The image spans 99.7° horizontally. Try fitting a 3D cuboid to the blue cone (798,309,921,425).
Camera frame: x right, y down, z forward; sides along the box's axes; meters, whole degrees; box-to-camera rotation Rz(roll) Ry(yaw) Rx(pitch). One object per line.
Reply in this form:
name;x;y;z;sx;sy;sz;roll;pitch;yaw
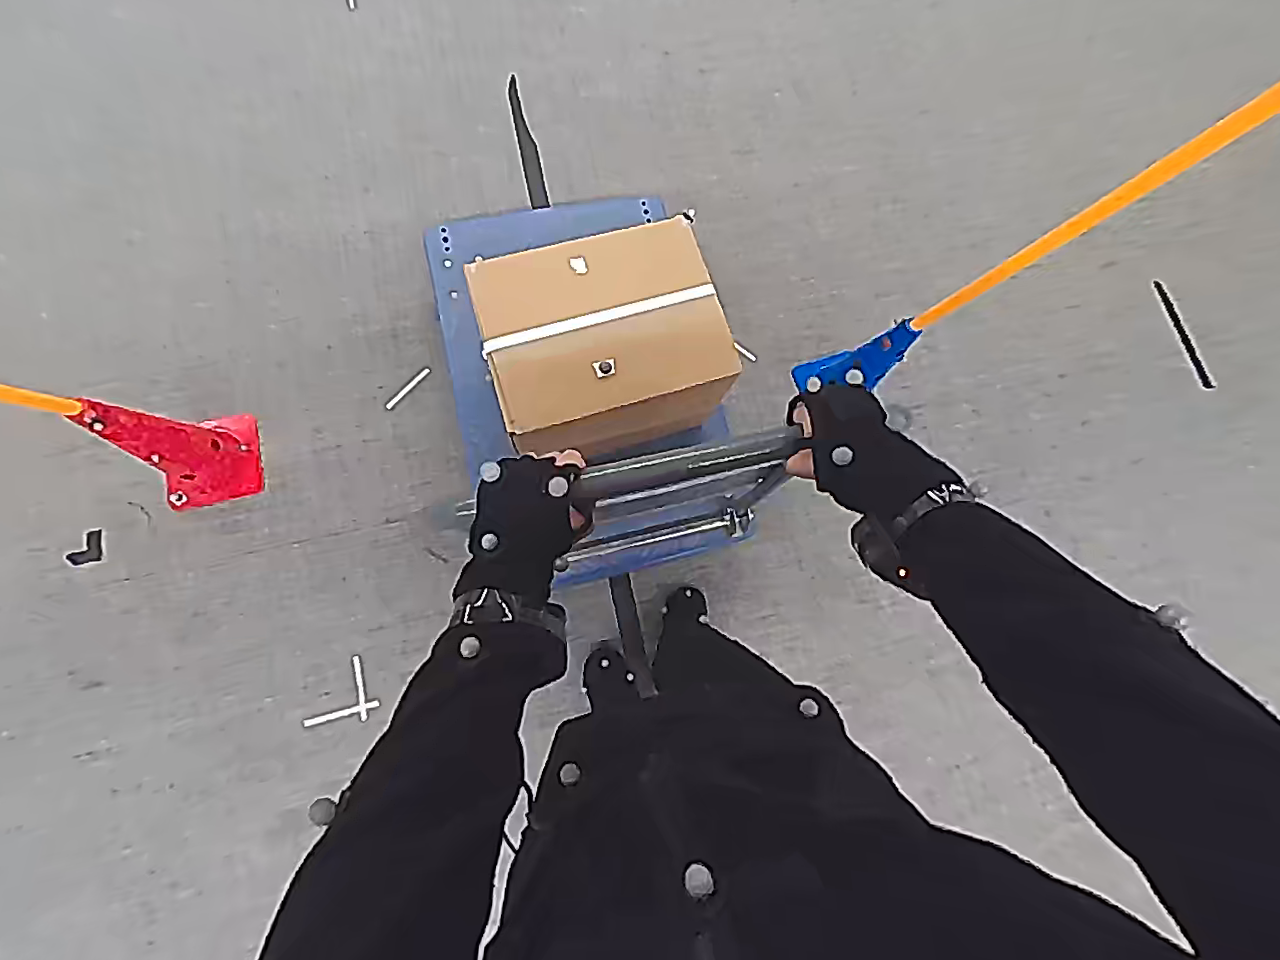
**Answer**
blue cone;0.554;-0.288;1.303;0.193;0.380;0.192;-16;78;-10
